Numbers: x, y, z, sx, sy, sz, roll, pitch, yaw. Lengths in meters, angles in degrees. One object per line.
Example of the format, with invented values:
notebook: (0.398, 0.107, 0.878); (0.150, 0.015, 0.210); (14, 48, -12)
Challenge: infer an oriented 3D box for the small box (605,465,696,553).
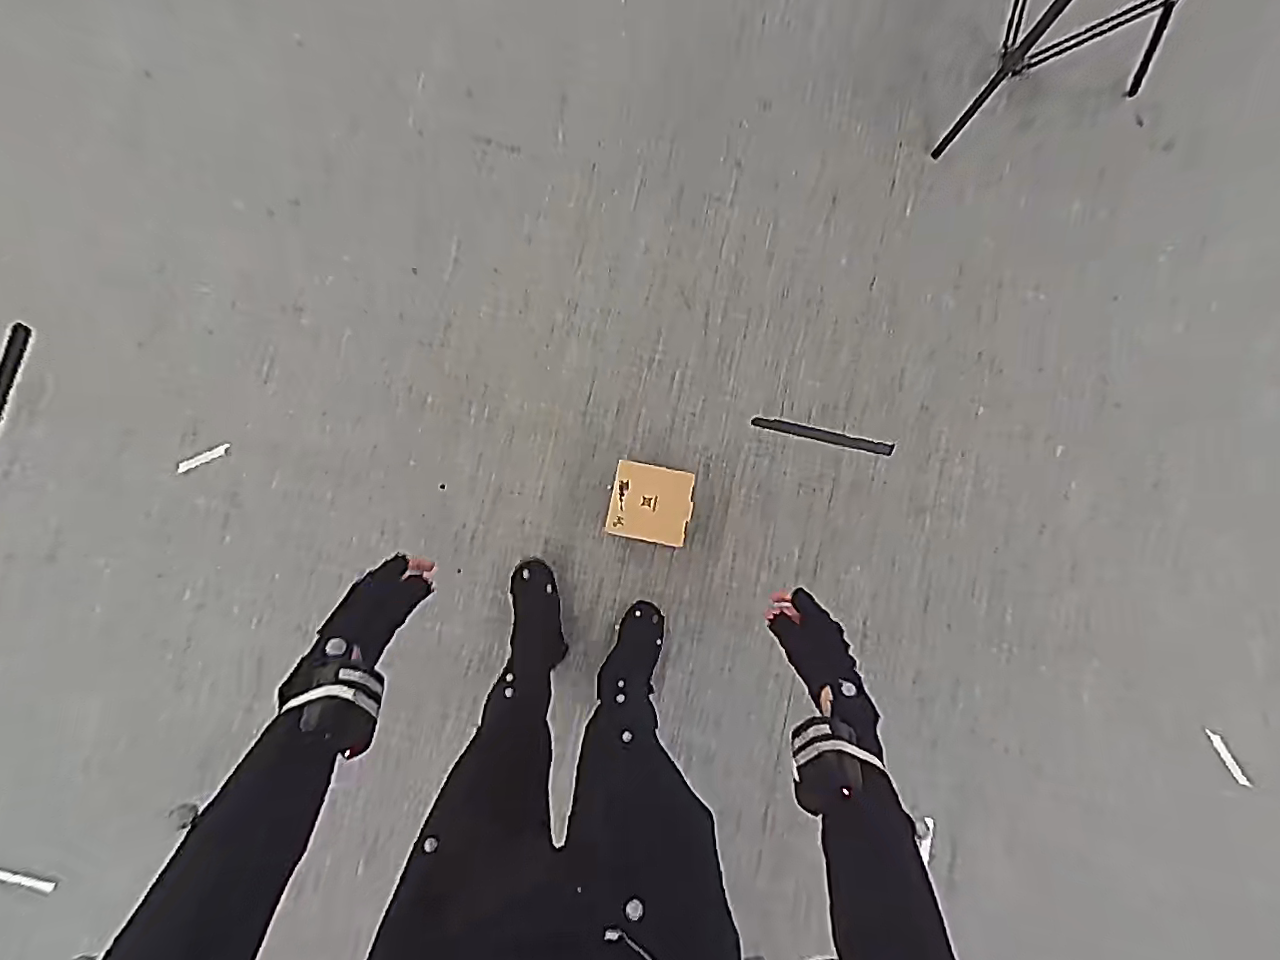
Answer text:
small box: (0.021, 0.069, 1.258); (0.179, 0.176, 0.168); (12, 84, 0)
